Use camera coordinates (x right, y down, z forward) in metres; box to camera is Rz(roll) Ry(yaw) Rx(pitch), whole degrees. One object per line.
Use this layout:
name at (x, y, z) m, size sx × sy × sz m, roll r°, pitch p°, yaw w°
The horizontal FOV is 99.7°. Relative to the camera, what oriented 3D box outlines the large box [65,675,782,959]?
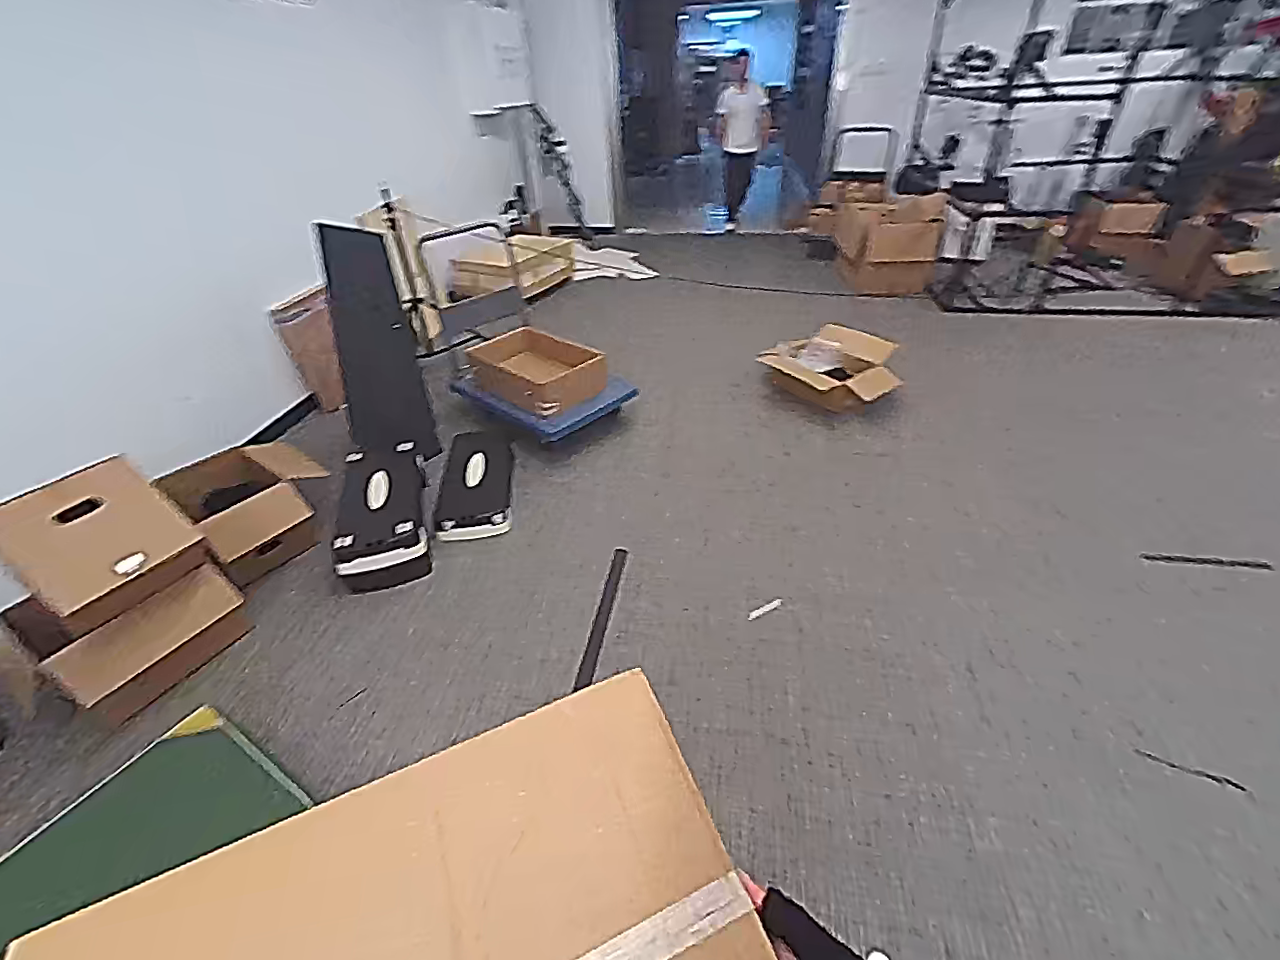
large box at (-0.110, 0.419, 0.401) m, size 0.408 × 0.320 × 0.320 m, roll -18°, pitch 51°, yaw -14°
